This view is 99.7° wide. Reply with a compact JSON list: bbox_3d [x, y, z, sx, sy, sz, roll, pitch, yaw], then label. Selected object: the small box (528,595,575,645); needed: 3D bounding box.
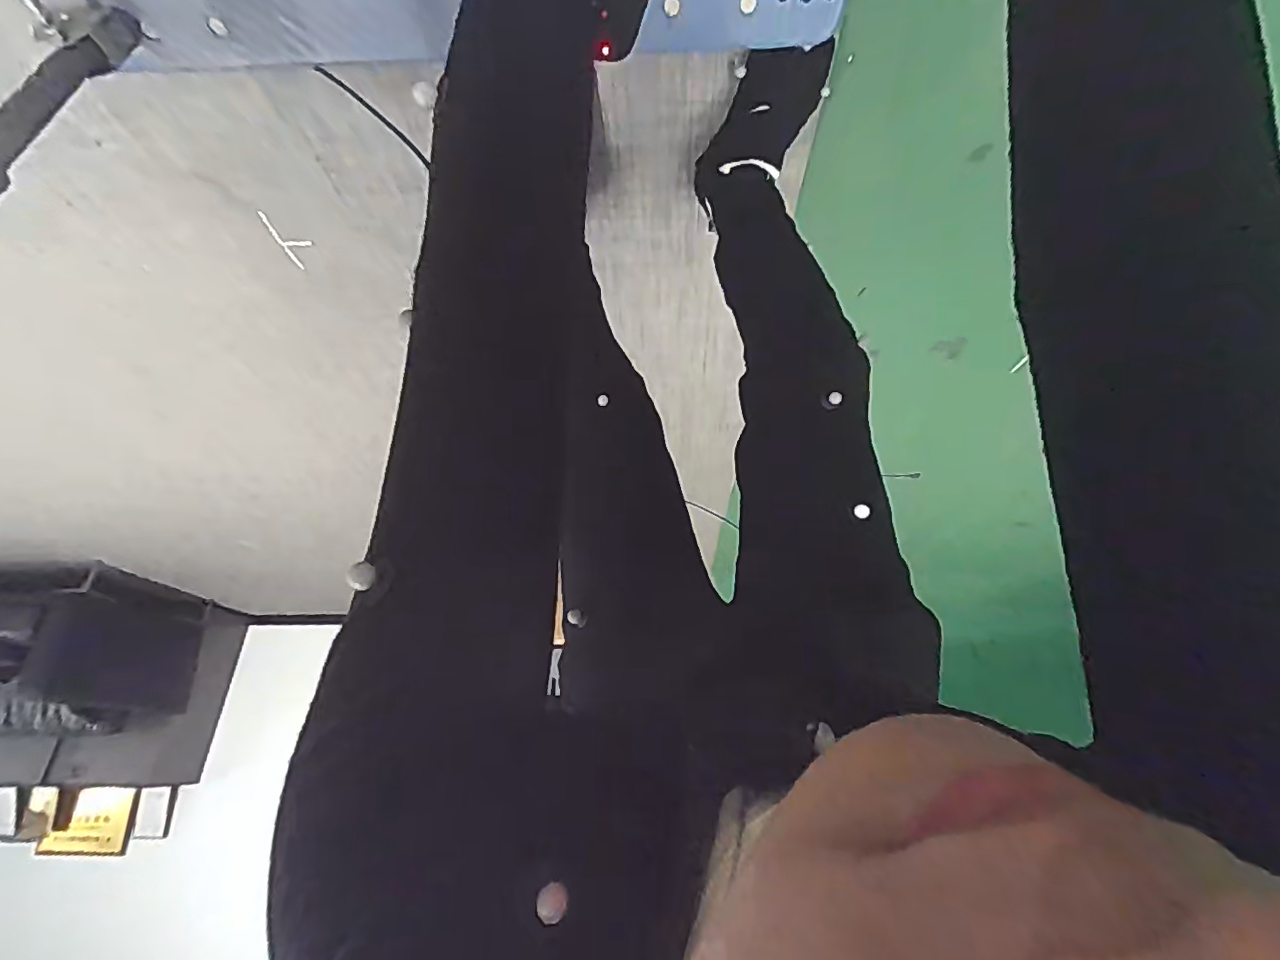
[{"bbox_3d":[-0.355,0.568,2.194,0.168,0.176,0.179,1,153,-1],"label":"small box"}]
